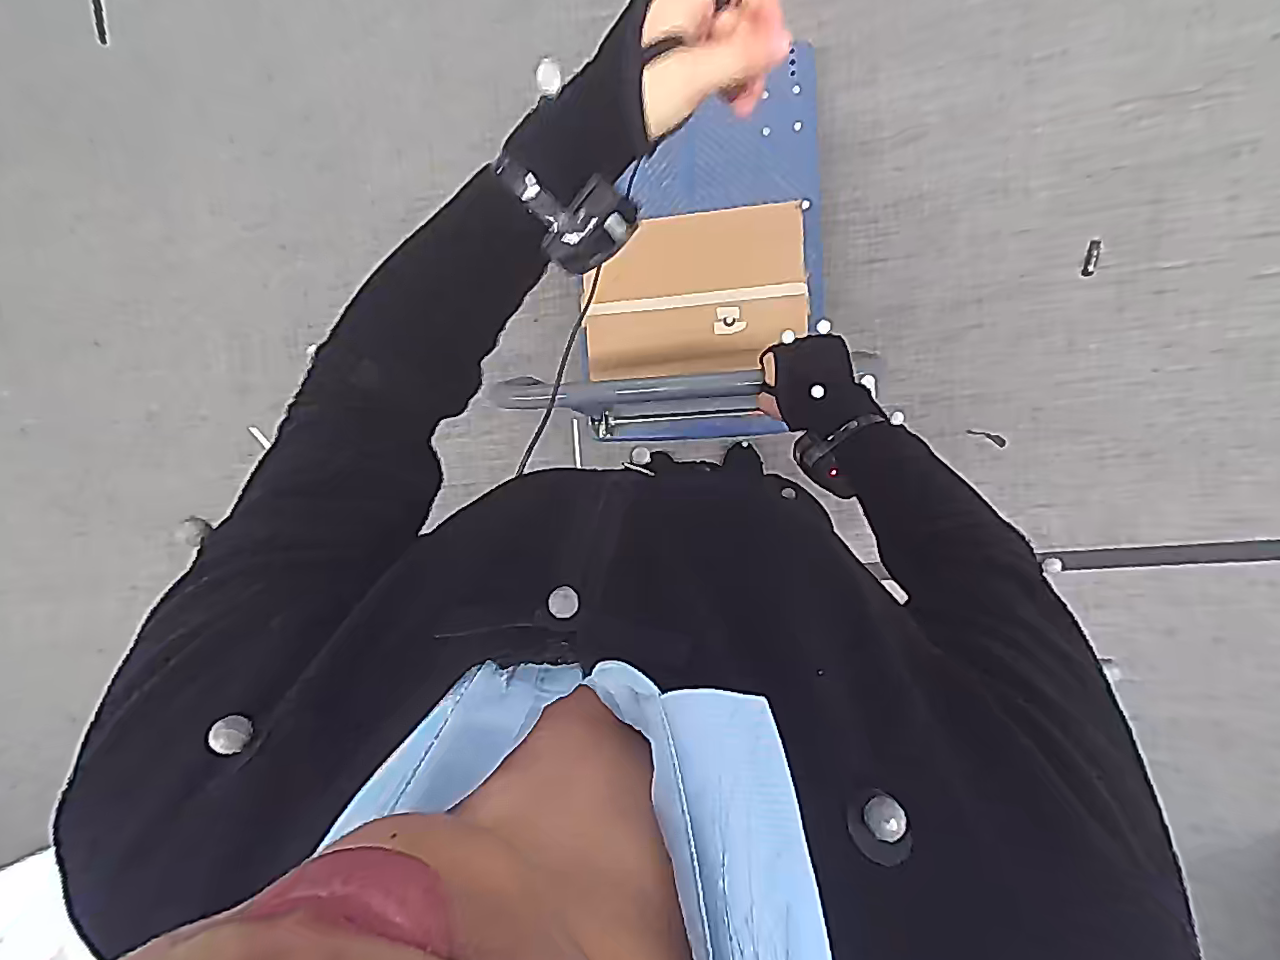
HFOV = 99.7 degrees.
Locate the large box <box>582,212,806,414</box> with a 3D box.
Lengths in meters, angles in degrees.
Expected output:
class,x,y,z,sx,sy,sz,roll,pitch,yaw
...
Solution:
class,x,y,z,sx,sy,sz,roll,pitch,yaw
large box,0.114,-0.320,1.142,0.408,0.320,0.320,-3,93,9
